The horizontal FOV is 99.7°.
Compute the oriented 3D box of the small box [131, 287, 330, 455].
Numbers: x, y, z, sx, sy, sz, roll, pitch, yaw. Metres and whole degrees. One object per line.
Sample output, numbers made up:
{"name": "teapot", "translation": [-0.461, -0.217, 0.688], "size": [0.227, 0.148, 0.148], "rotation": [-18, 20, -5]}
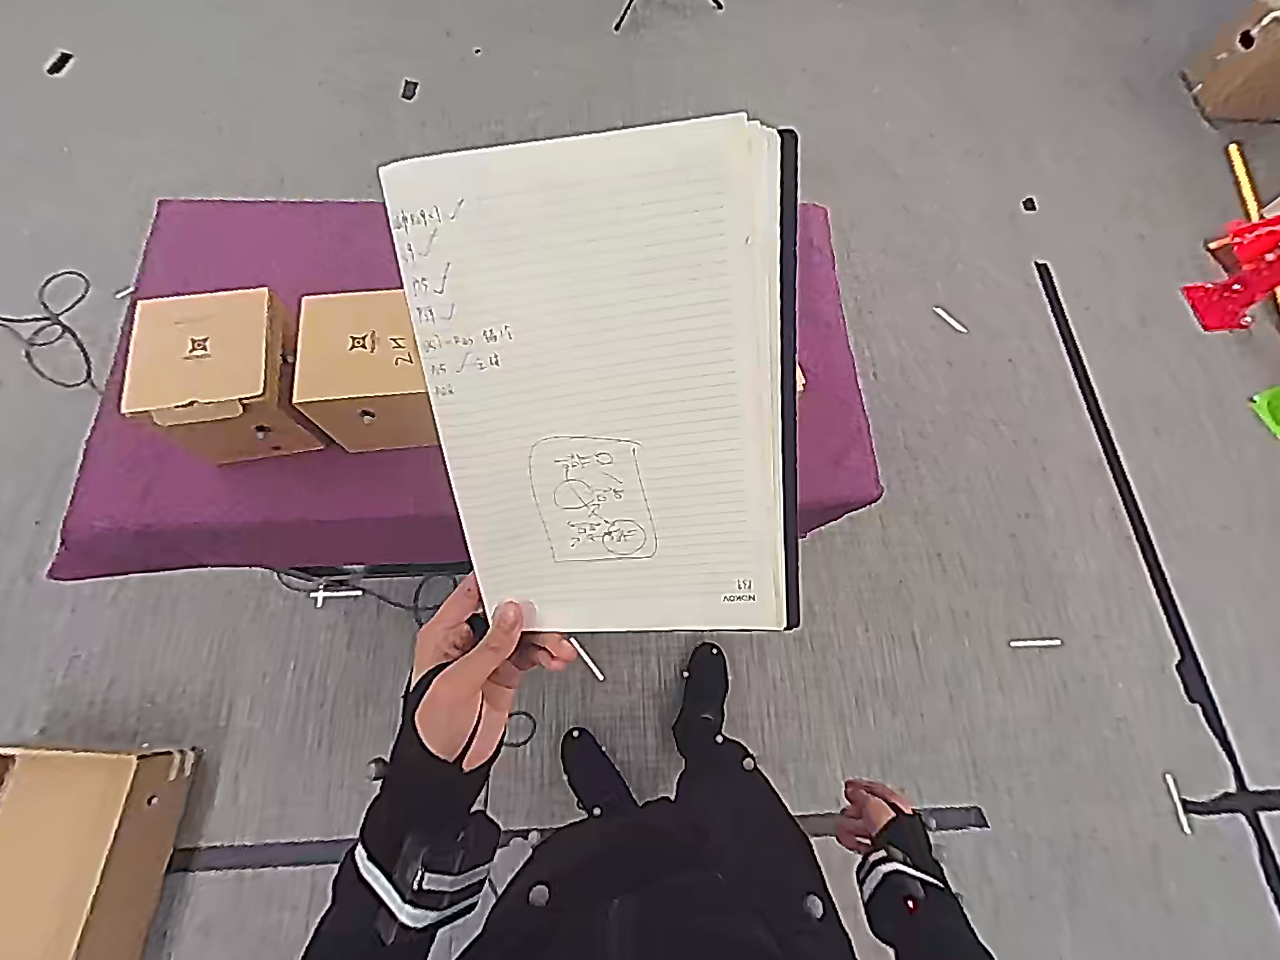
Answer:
{"name": "small box", "translation": [-0.570, -0.146, 0.780], "size": [0.168, 0.176, 0.179], "rotation": [-9, 71, -7]}
